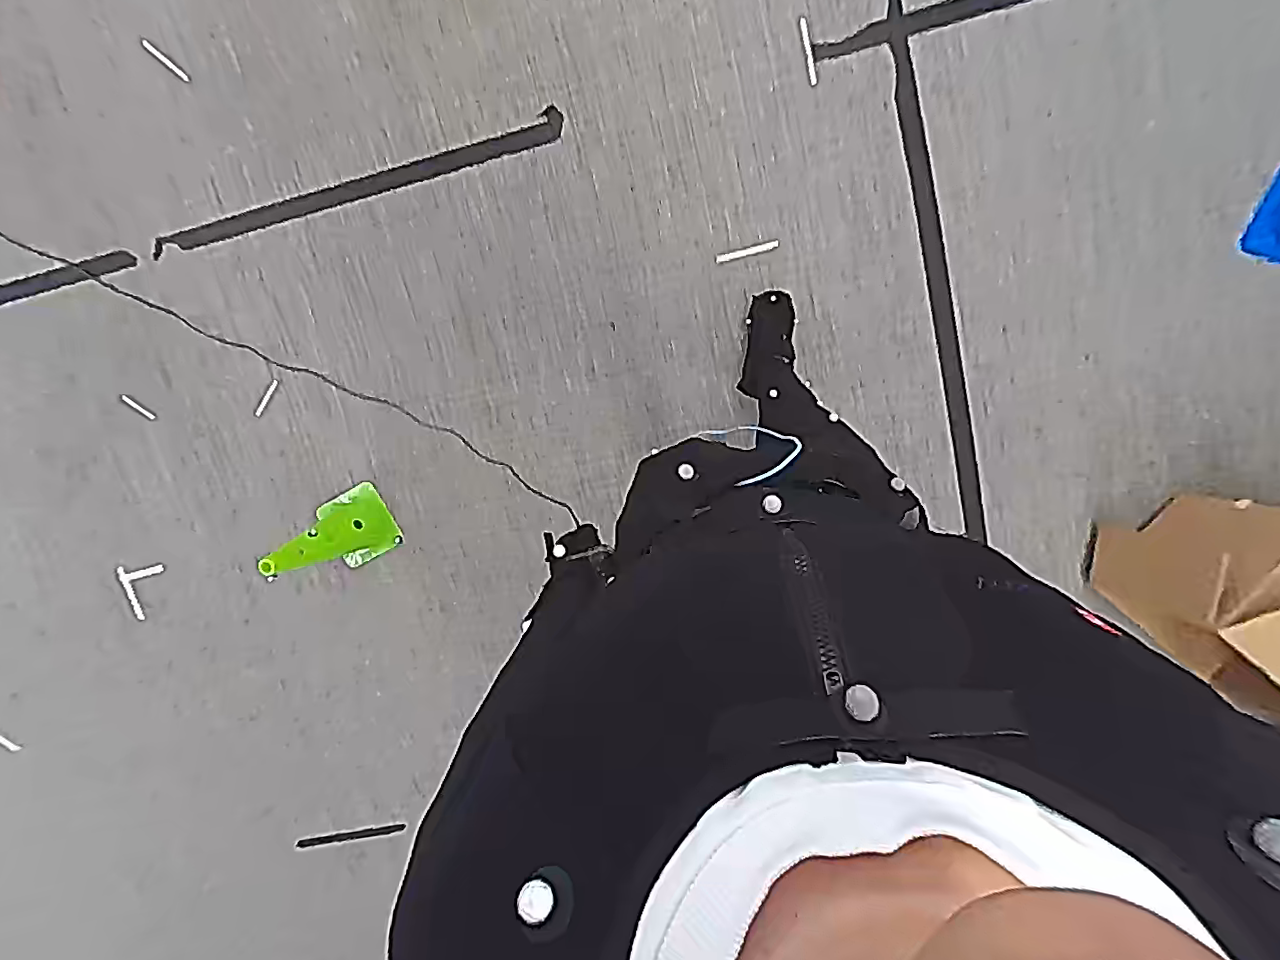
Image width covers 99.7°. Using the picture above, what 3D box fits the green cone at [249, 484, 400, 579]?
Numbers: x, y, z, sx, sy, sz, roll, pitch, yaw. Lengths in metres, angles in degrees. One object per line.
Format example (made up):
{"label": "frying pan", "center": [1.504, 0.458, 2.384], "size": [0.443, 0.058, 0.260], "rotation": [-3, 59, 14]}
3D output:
{"label": "green cone", "center": [-0.821, 0.162, 1.365], "size": [0.202, 0.368, 0.200], "rotation": [-28, 96, 11]}
